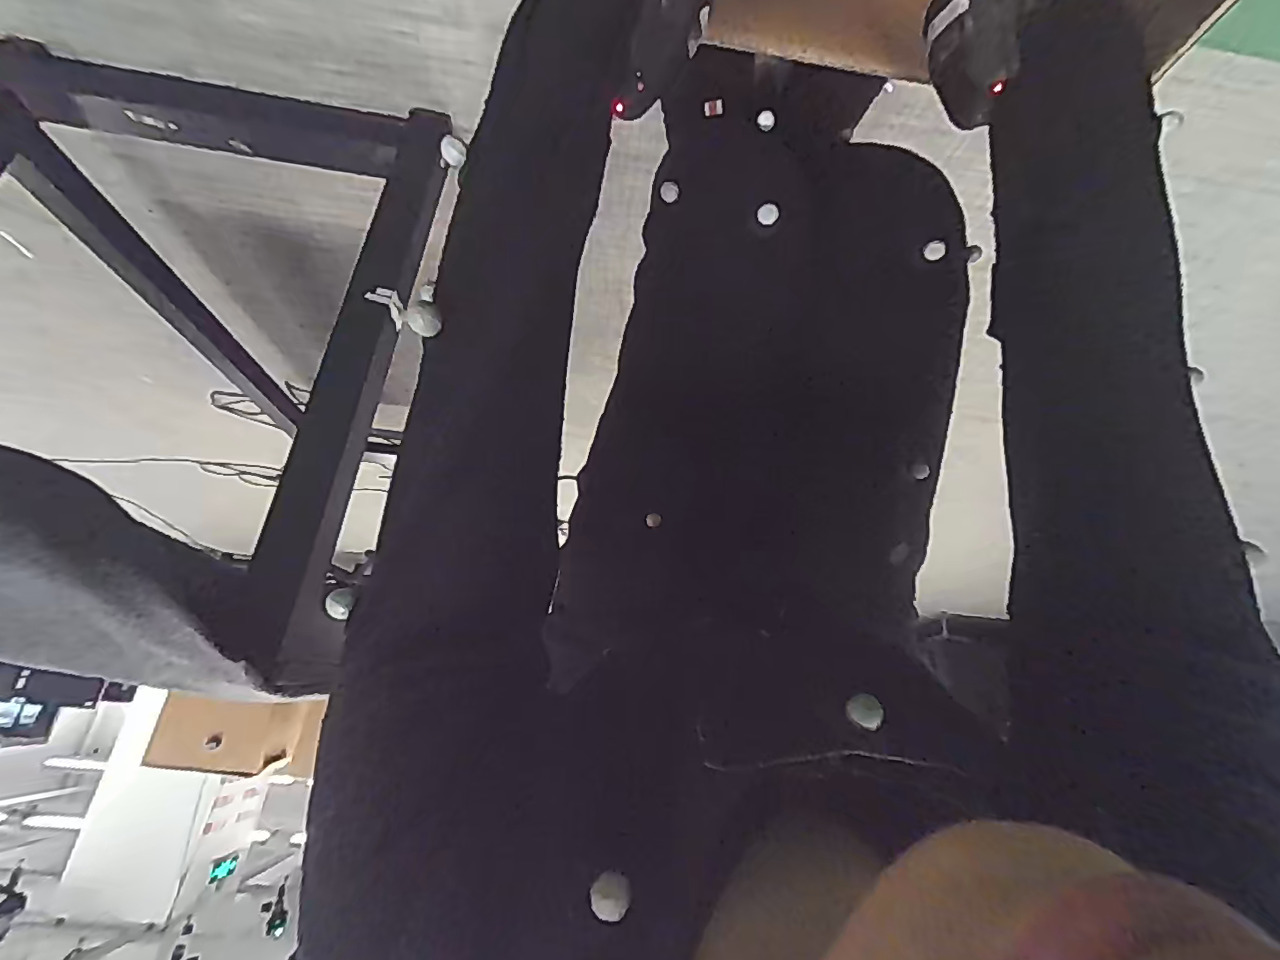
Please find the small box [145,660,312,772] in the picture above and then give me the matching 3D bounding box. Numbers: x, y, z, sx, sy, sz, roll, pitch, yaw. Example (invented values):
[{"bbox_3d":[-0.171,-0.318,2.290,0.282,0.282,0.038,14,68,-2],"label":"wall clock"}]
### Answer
[{"bbox_3d":[-0.739,0.429,1.001,0.179,0.176,0.168,9,157,-8],"label":"small box"}]
